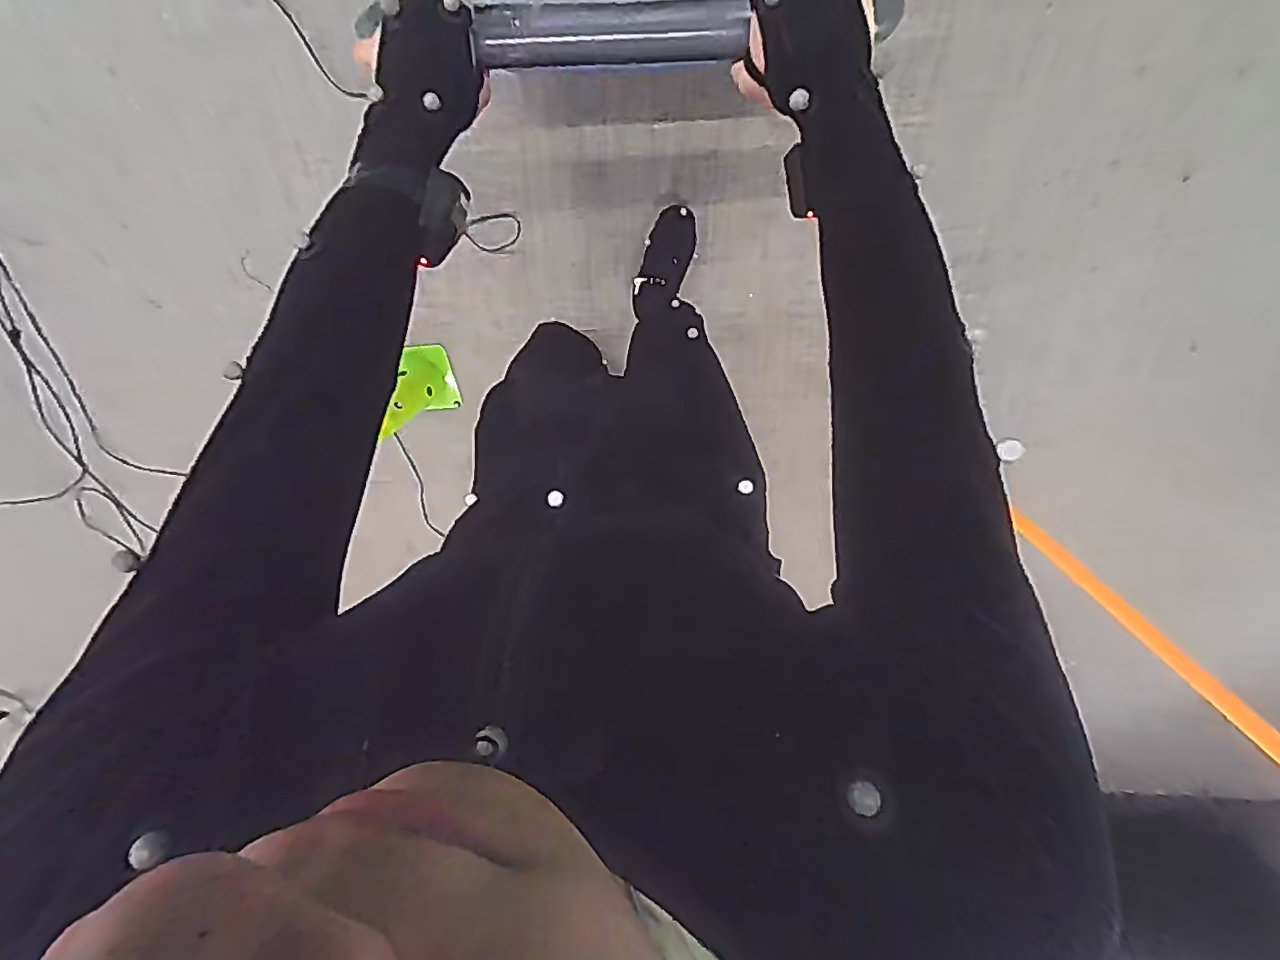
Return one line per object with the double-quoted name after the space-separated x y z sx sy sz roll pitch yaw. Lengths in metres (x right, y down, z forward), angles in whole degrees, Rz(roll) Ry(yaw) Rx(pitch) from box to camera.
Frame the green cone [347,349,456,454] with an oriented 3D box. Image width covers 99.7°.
-0.668 -0.185 1.442 0.202 0.368 0.200 -3 125 8 "green cone"
